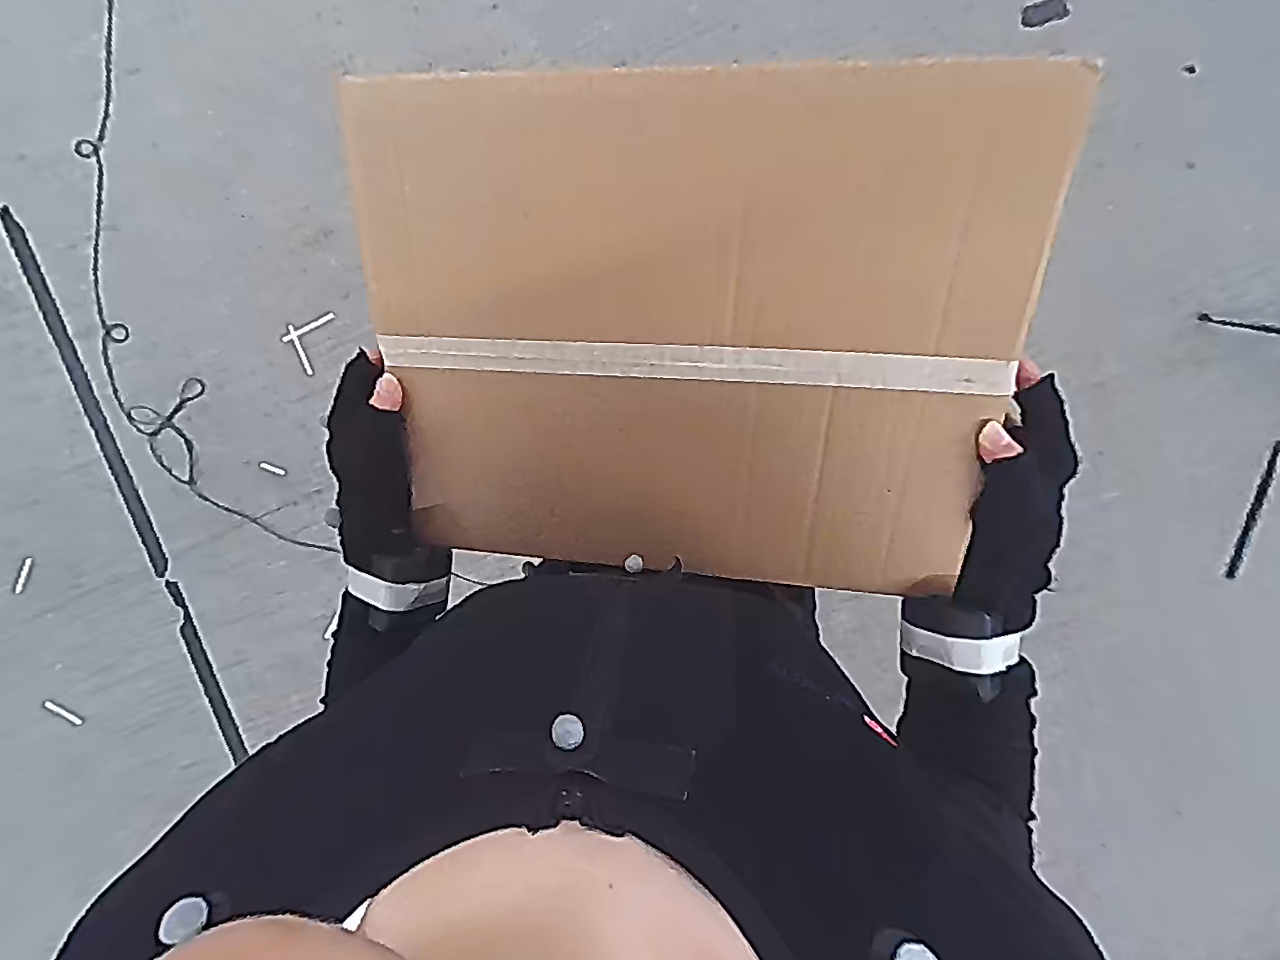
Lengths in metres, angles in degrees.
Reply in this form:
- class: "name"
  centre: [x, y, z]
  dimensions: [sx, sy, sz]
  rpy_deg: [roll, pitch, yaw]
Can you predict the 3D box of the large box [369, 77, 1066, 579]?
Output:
- class: "large box"
  centre: [0.046, -0.136, 0.499]
  dimensions: [0.408, 0.320, 0.320]
  rpy_deg: [4, 114, 8]
